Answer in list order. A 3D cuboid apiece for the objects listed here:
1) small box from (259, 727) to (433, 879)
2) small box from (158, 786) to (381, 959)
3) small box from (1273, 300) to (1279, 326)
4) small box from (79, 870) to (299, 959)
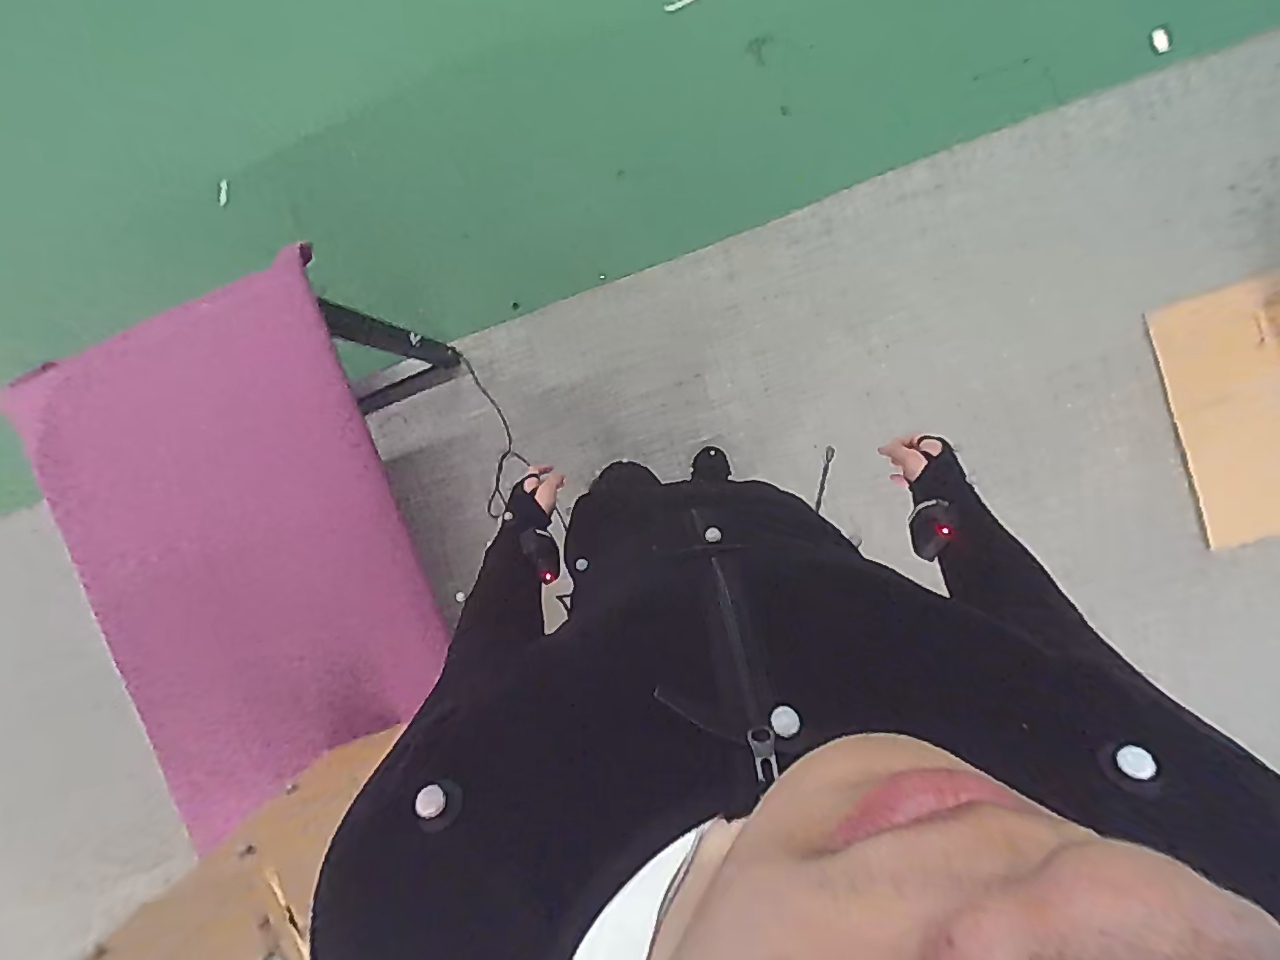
[{"bbox_3d":[-0.476,0.551,0.911,0.179,0.176,0.168,-23,92,7],"label":"small box"},{"bbox_3d":[-0.492,0.563,0.747,0.179,0.176,0.168,-22,92,8],"label":"small box"},{"bbox_3d":[1.757,-0.421,1.330,0.179,0.176,0.168,-26,92,7],"label":"small box"},{"bbox_3d":[-0.517,0.577,0.587,0.179,0.176,0.168,-21,93,7],"label":"small box"}]
